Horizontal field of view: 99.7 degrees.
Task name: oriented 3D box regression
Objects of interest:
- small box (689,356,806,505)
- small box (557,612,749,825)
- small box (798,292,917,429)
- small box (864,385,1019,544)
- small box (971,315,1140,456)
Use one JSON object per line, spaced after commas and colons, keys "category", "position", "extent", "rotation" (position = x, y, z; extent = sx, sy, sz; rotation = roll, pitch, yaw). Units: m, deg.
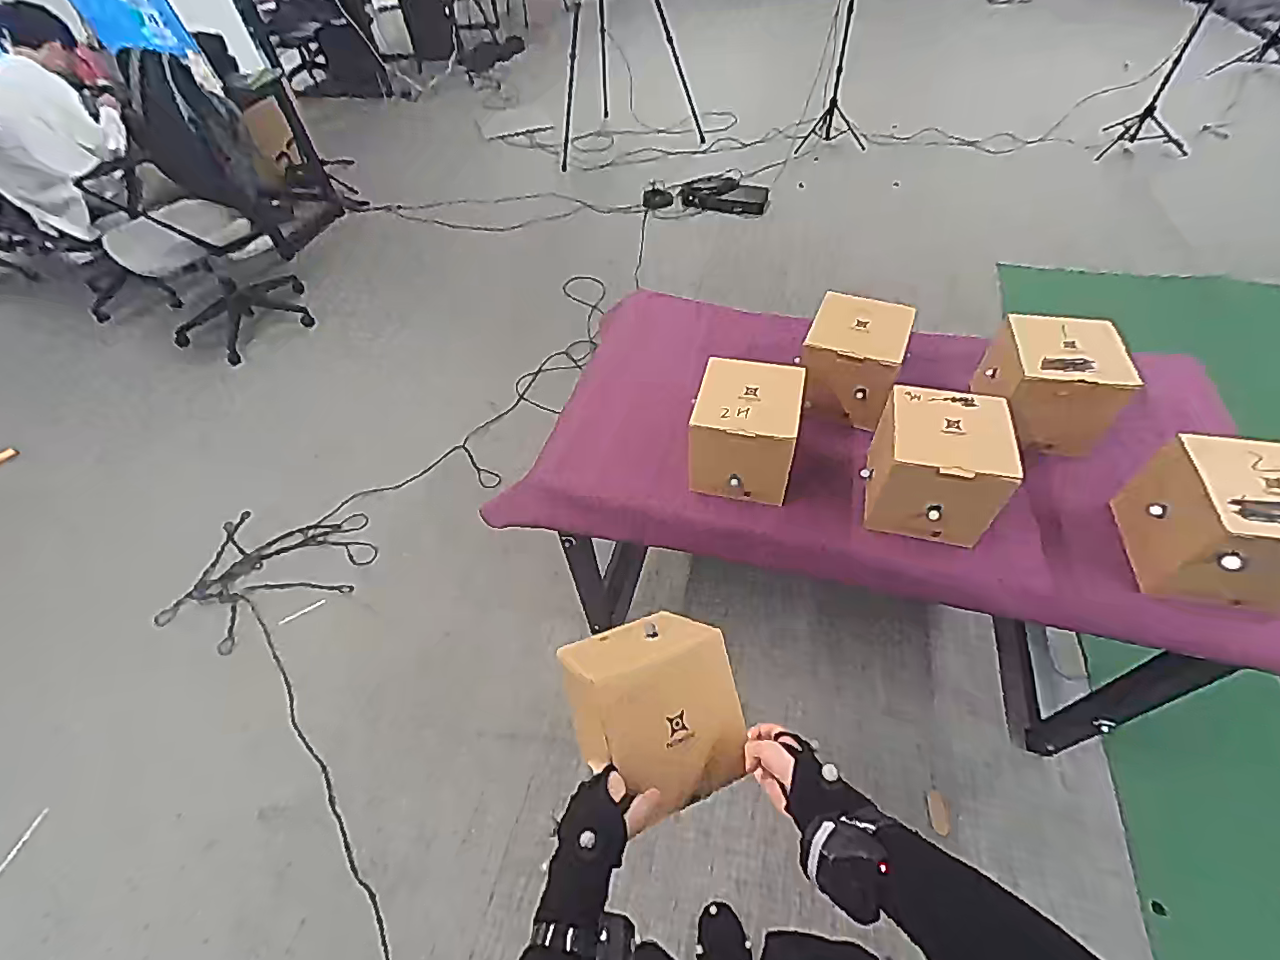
{"category": "small box", "position": [0.180, -0.086, 0.931], "extent": [0.168, 0.176, 0.179], "rotation": [10, 52, 13]}
{"category": "small box", "position": [0.005, 0.272, 0.673], "extent": [0.168, 0.176, 0.179], "rotation": [-14, 90, -21]}
{"category": "small box", "position": [0.401, -0.224, 1.028], "extent": [0.168, 0.176, 0.179], "rotation": [19, 55, 18]}
{"category": "small box", "position": [0.463, -0.022, 0.856], "extent": [0.168, 0.176, 0.179], "rotation": [11, 52, 13]}
{"category": "small box", "position": [0.711, -0.163, 0.951], "extent": [0.168, 0.176, 0.179], "rotation": [9, 51, 12]}
